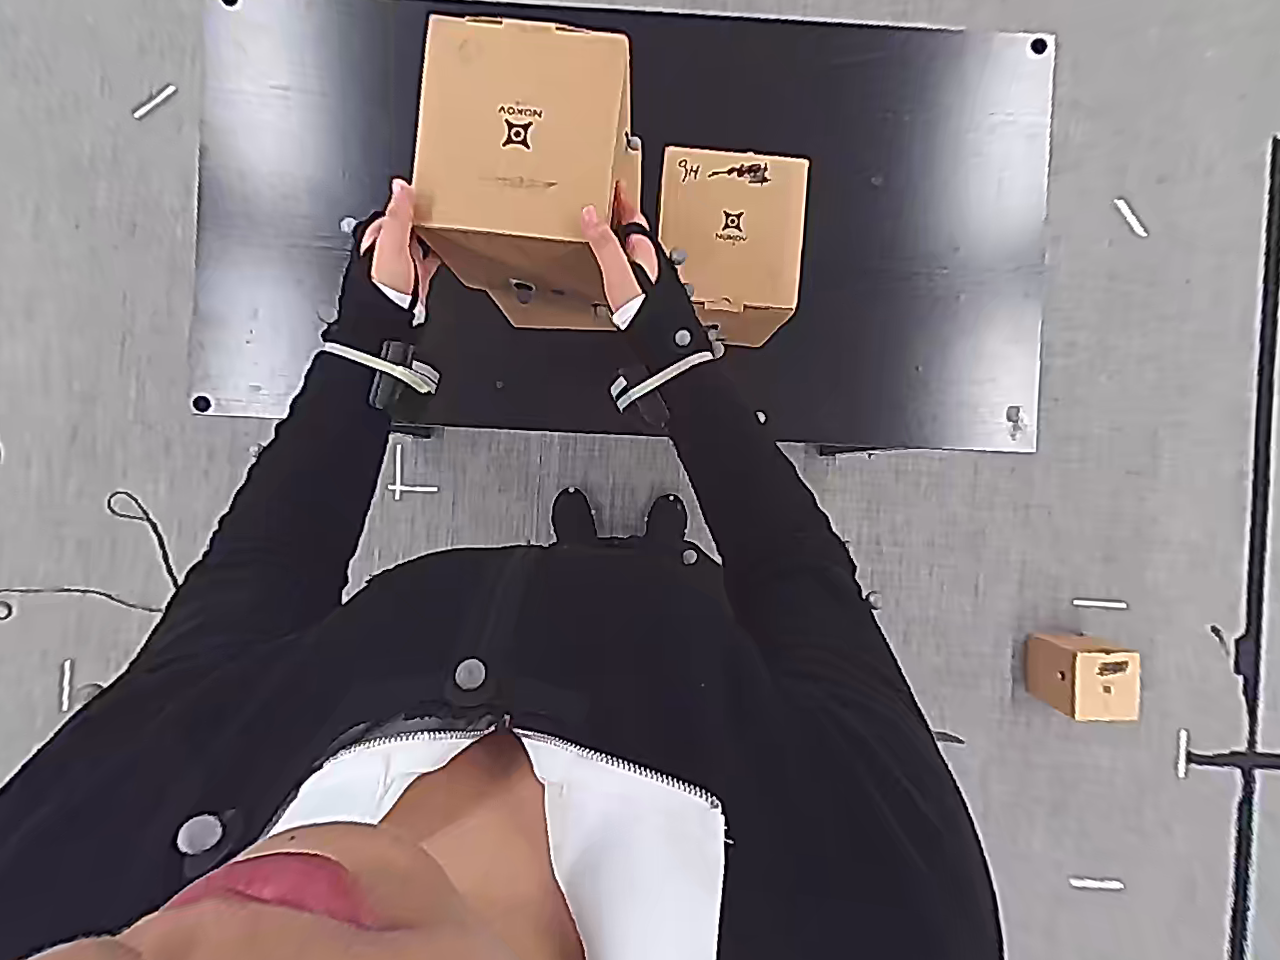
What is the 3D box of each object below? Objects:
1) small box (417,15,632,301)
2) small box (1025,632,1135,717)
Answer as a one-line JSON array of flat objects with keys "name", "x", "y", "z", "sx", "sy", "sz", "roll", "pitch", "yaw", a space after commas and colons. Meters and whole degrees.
[{"name": "small box", "x": -0.096, "y": -0.292, "z": 0.527, "sx": 0.168, "sy": 0.176, "sz": 0.179, "roll": 5, "pitch": 93, "yaw": 1}, {"name": "small box", "x": 1.170, "y": 0.514, "z": 1.448, "sx": 0.168, "sy": 0.176, "sz": 0.179, "roll": 0, "pitch": 91, "yaw": -1}]
